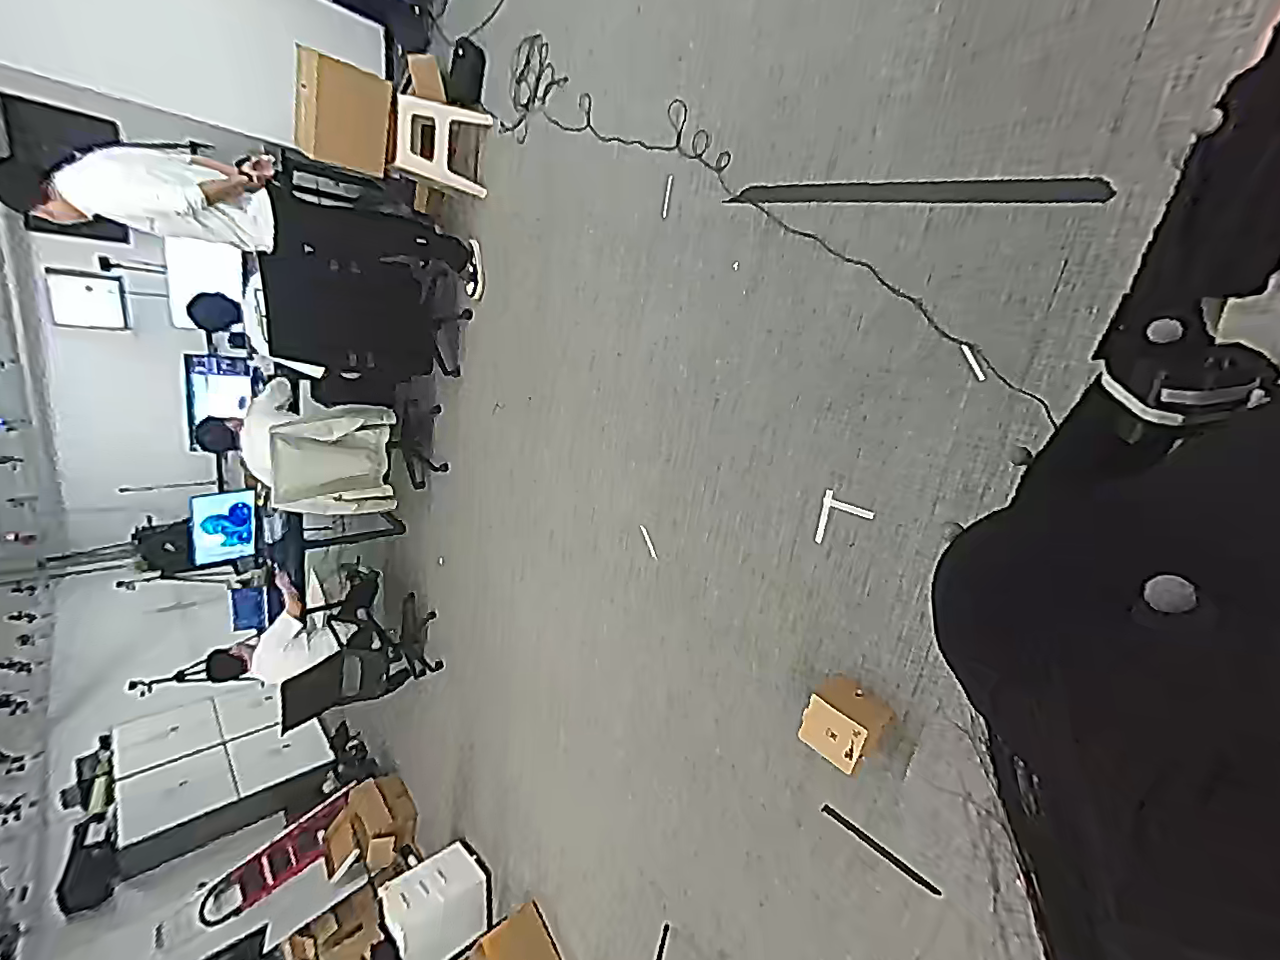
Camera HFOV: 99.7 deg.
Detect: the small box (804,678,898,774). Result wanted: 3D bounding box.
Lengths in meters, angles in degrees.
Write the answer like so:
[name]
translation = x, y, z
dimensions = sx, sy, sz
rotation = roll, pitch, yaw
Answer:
[small box]
translation = 0.623, 0.712, 1.595
dimensions = 0.179, 0.176, 0.168
rotation = 29, 116, 41
